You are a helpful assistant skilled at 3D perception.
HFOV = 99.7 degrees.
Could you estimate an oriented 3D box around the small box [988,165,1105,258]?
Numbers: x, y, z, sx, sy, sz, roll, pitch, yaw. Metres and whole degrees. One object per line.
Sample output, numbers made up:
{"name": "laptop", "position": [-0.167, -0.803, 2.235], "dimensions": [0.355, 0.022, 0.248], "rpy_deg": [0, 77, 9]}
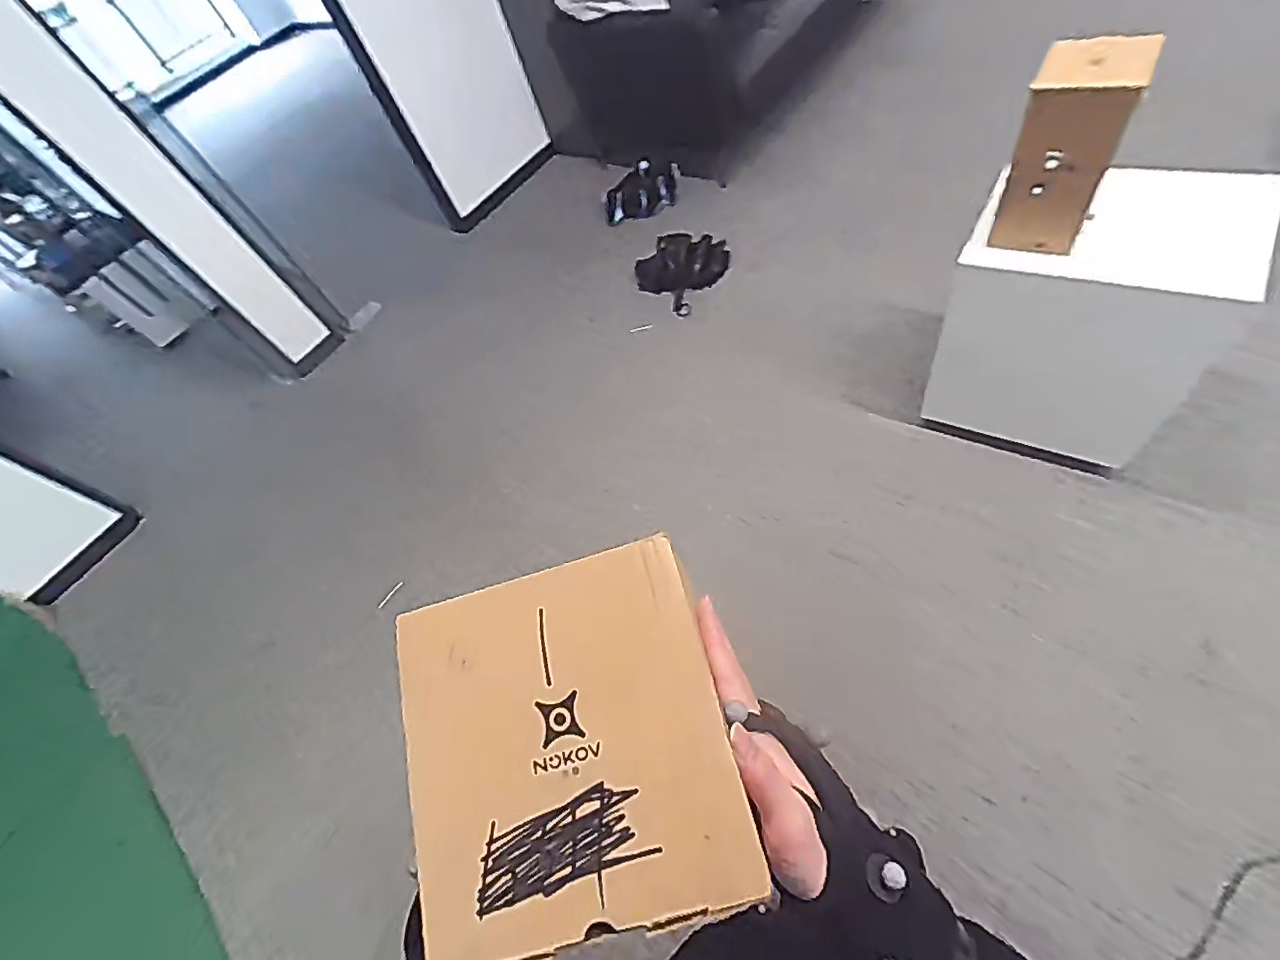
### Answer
{"name": "small box", "position": [0.873, -0.607, 1.152], "dimensions": [0.168, 0.176, 0.179], "rpy_deg": [22, 65, 29]}

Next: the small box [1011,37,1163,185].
{"name": "small box", "position": [0.830, -0.690, 1.019], "dimensions": [0.168, 0.176, 0.179], "rpy_deg": [20, 66, 29]}
